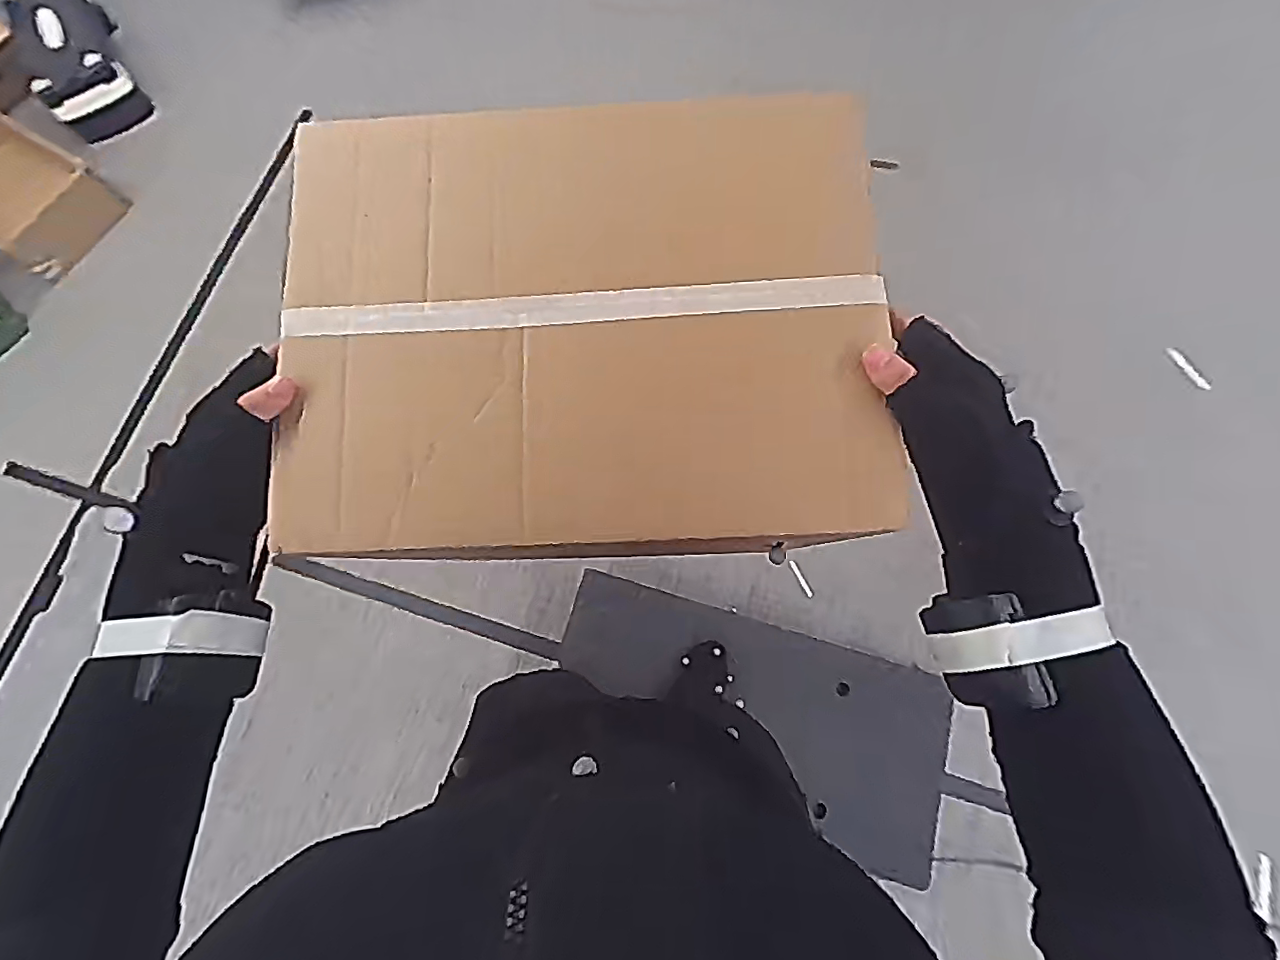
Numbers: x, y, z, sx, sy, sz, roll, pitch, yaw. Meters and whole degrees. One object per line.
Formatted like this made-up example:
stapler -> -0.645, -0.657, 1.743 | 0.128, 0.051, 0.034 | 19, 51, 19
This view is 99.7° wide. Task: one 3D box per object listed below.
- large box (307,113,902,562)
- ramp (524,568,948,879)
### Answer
large box -> -0.025, -0.085, 0.525 | 0.408, 0.320, 0.320 | -2, 80, 3
ramp -> 0.267, 0.588, 1.335 | 0.991, 0.206, 0.509 | 13, 75, 7
